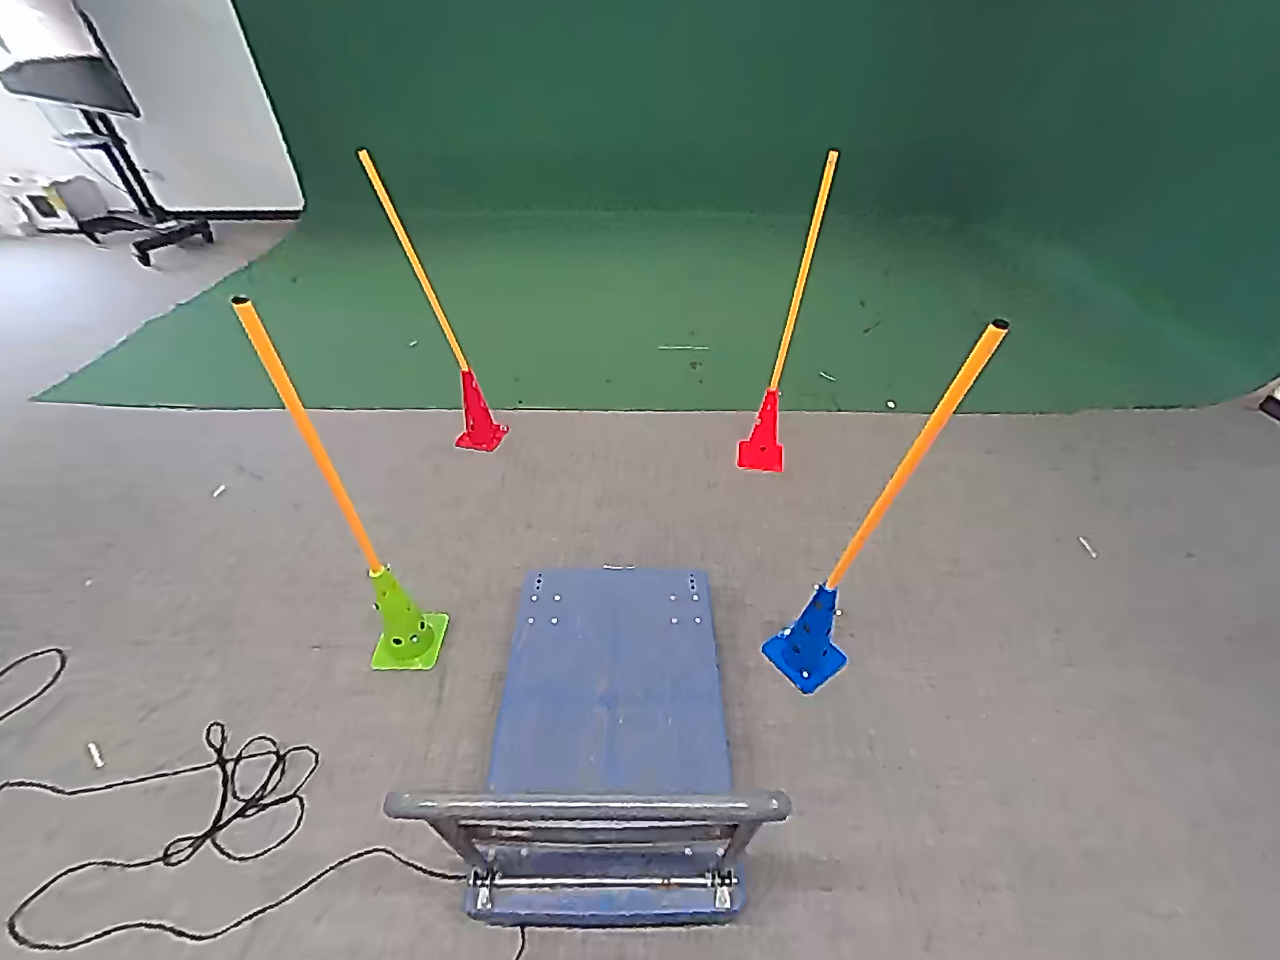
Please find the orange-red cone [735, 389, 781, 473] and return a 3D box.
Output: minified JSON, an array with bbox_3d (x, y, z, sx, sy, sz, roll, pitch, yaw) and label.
[{"bbox_3d":[0.529,-0.228,2.314,0.198,0.360,0.199,7,43,9],"label":"orange-red cone"}]
